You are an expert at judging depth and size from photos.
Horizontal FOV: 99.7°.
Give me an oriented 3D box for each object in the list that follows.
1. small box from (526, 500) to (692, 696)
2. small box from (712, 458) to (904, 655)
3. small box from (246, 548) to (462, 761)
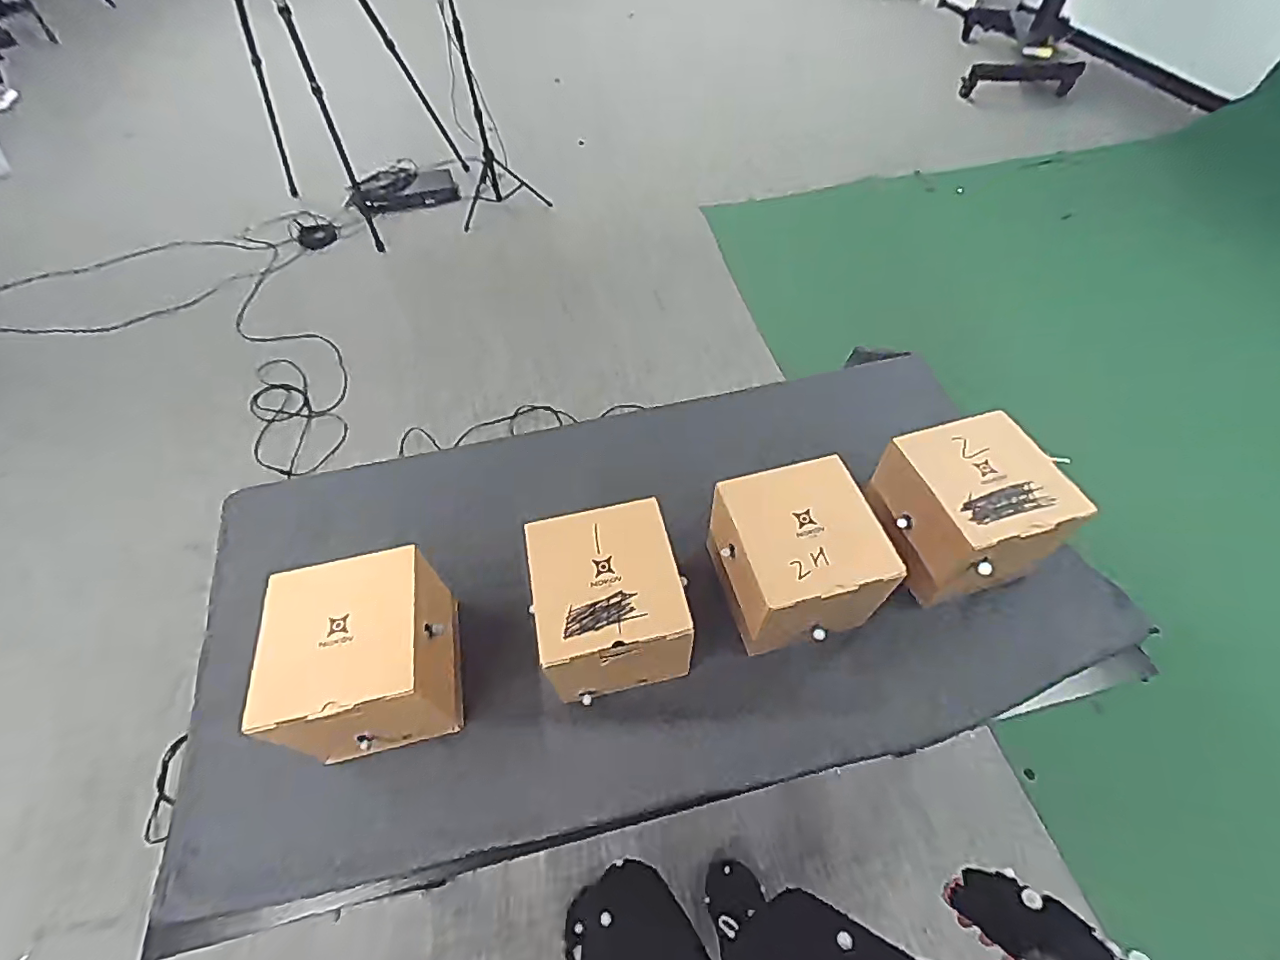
[{"bbox_3d":[-0.037,0.154,0.673,0.168,0.176,0.179,-11,54,-6],"label":"small box"},{"bbox_3d":[0.197,0.102,0.701,0.168,0.176,0.179,-13,56,-5],"label":"small box"},{"bbox_3d":[-0.319,0.209,0.643,0.168,0.176,0.179,-12,54,-7],"label":"small box"}]
